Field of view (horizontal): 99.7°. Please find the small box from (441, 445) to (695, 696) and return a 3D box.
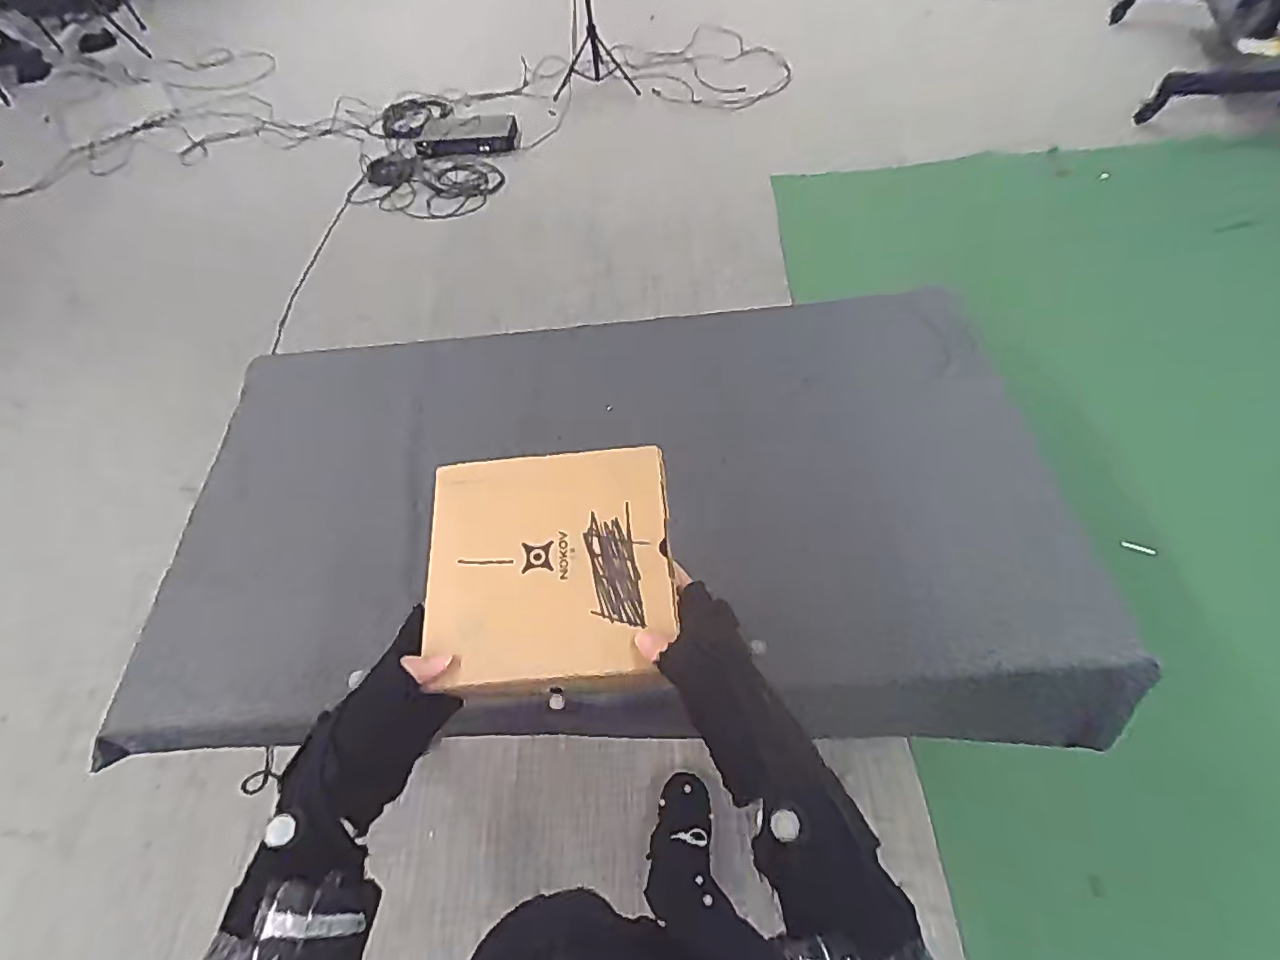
[{"bbox_3d":[-0.058,0.088,0.471,0.179,0.176,0.168,-8,65,-3],"label":"small box"}]
